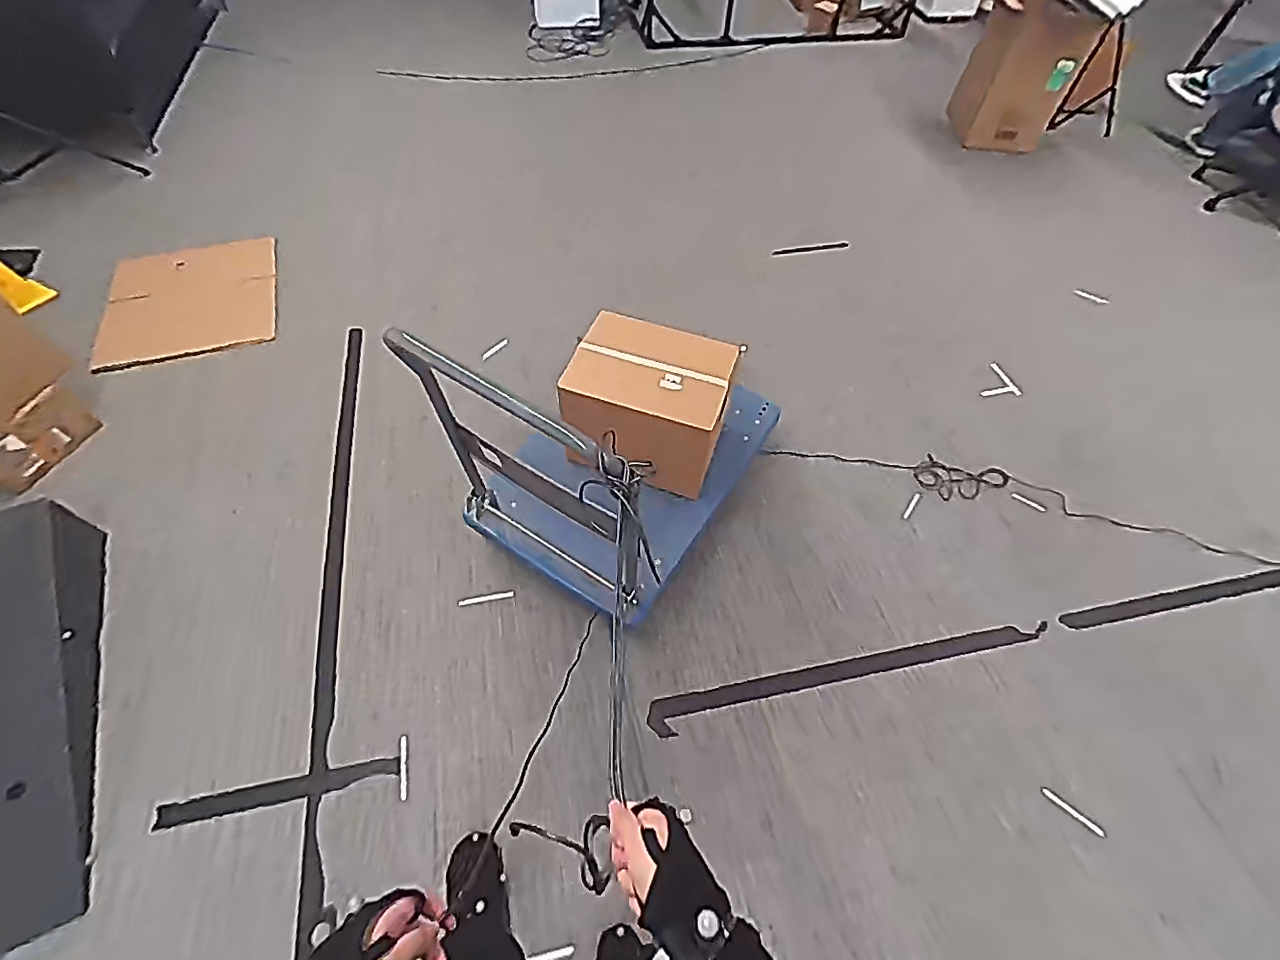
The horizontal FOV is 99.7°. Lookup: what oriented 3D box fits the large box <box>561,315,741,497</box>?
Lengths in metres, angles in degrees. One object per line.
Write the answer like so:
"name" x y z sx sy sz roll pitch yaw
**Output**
"large box" 0.027 -0.203 1.510 0.408 0.320 0.320 18 58 8
